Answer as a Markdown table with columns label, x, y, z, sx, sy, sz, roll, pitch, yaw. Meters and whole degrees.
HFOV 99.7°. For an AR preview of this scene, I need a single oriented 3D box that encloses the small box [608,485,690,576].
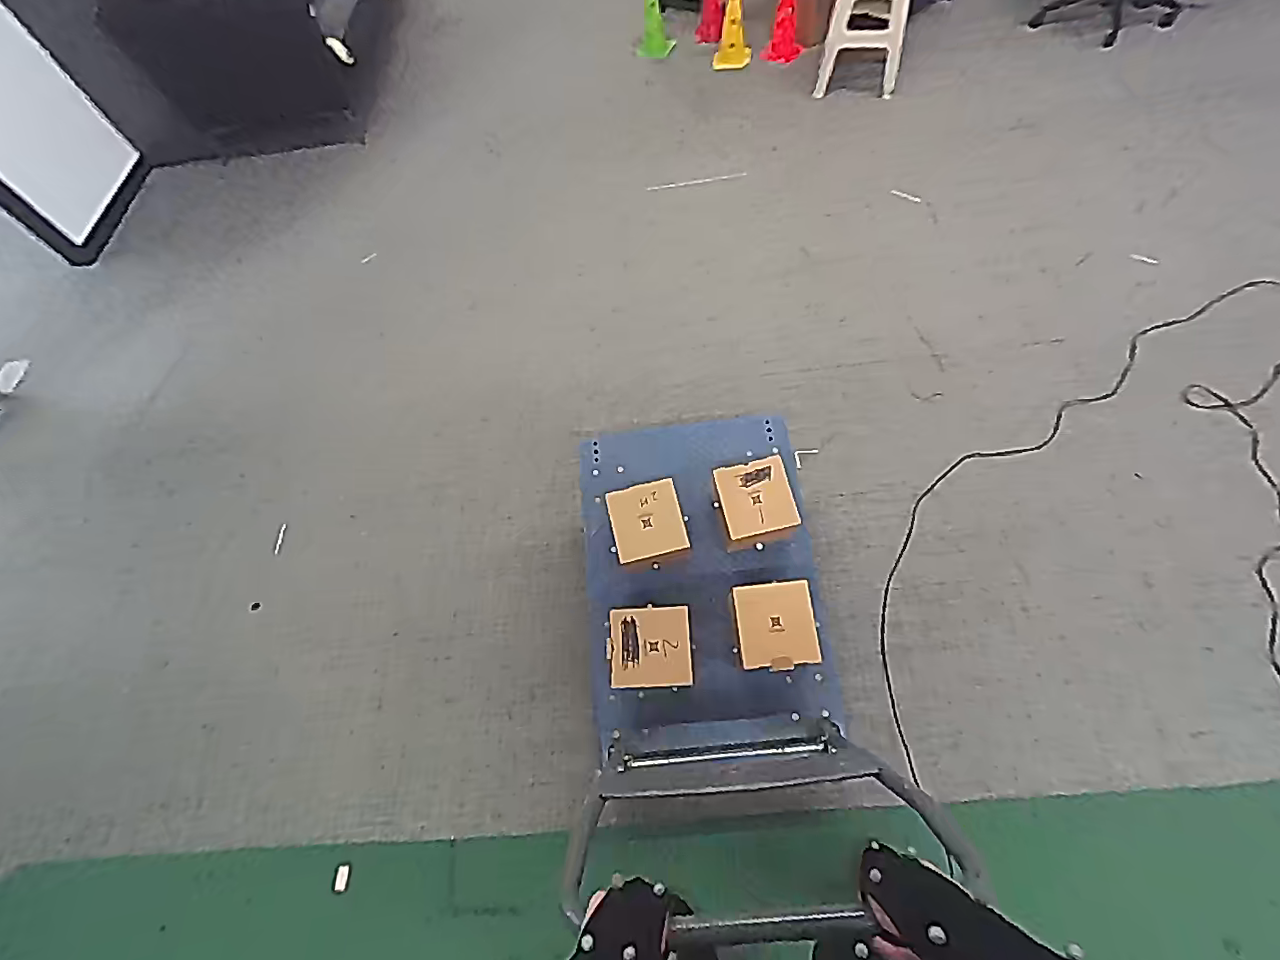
| label | x | y | z | sx | sy | sz | roll | pitch | yaw |
| --- | --- | --- | --- | --- | --- | --- | --- | --- | --- |
| small box | 0.026 | 0.132 | 1.334 | 0.168 | 0.176 | 0.179 | -13 | 70 | 0 |

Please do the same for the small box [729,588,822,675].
| label | x | y | z | sx | sy | sz | roll | pitch | yaw |
| --- | --- | --- | --- | --- | --- | --- | --- | --- | --- |
| small box | 0.300 | 0.350 | 1.237 | 0.168 | 0.176 | 0.179 | -6 | 71 | 3 |

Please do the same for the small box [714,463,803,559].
| label | x | y | z | sx | sy | sz | roll | pitch | yaw |
| --- | --- | --- | --- | --- | --- | --- | --- | --- | --- |
| small box | 0.282 | 0.081 | 1.331 | 0.168 | 0.176 | 0.179 | -13 | 71 | 1 |
